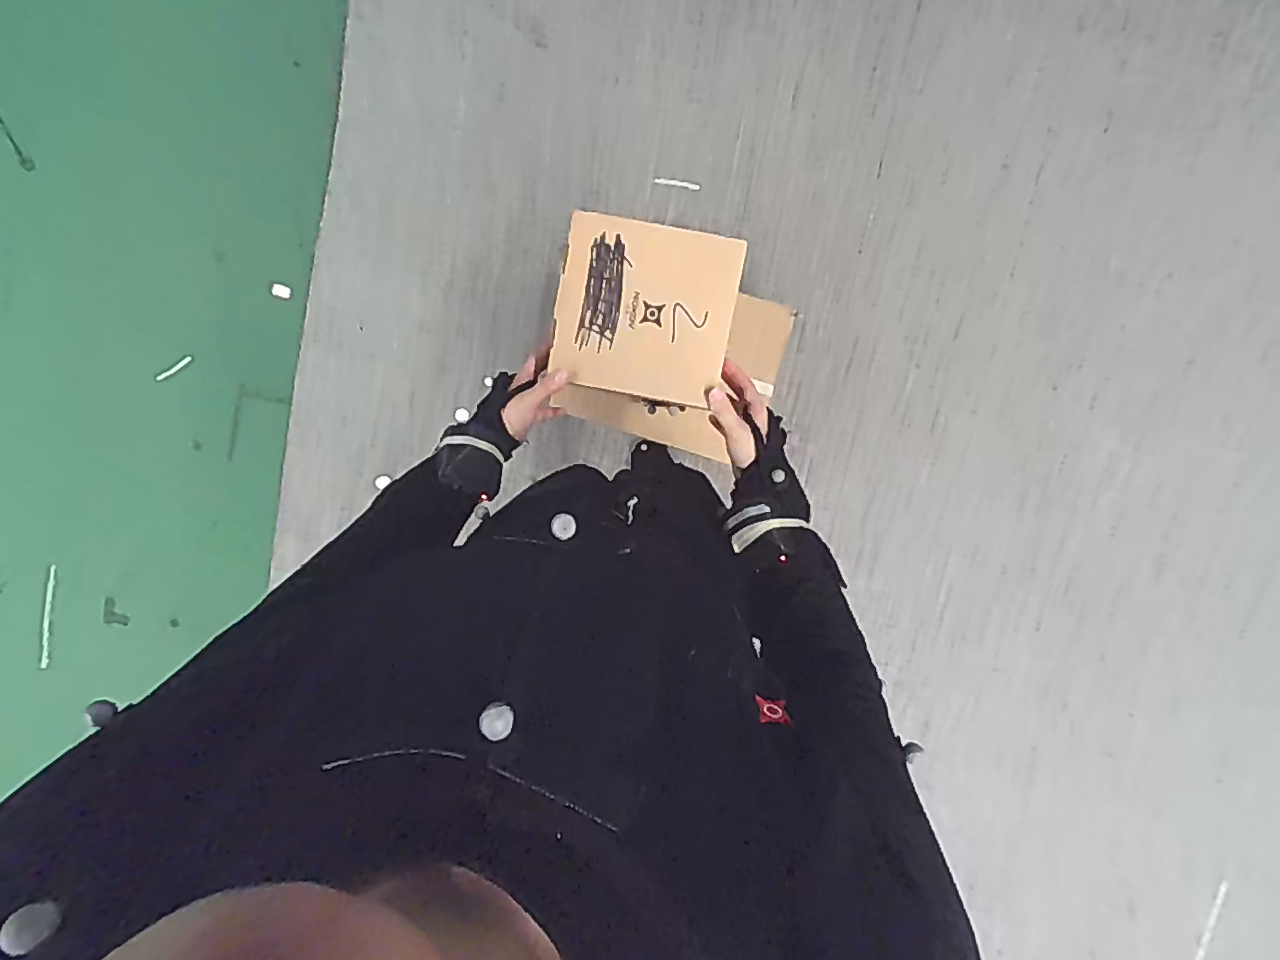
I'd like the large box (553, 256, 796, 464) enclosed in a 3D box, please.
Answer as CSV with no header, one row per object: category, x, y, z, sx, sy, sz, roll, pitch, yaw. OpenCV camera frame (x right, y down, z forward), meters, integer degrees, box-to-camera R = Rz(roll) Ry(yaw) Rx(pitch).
large box,0.067,-0.242,1.171,0.408,0.320,0.320,17,98,2

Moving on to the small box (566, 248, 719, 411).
small box,0.007,-0.201,0.773,0.168,0.176,0.179,14,96,1
